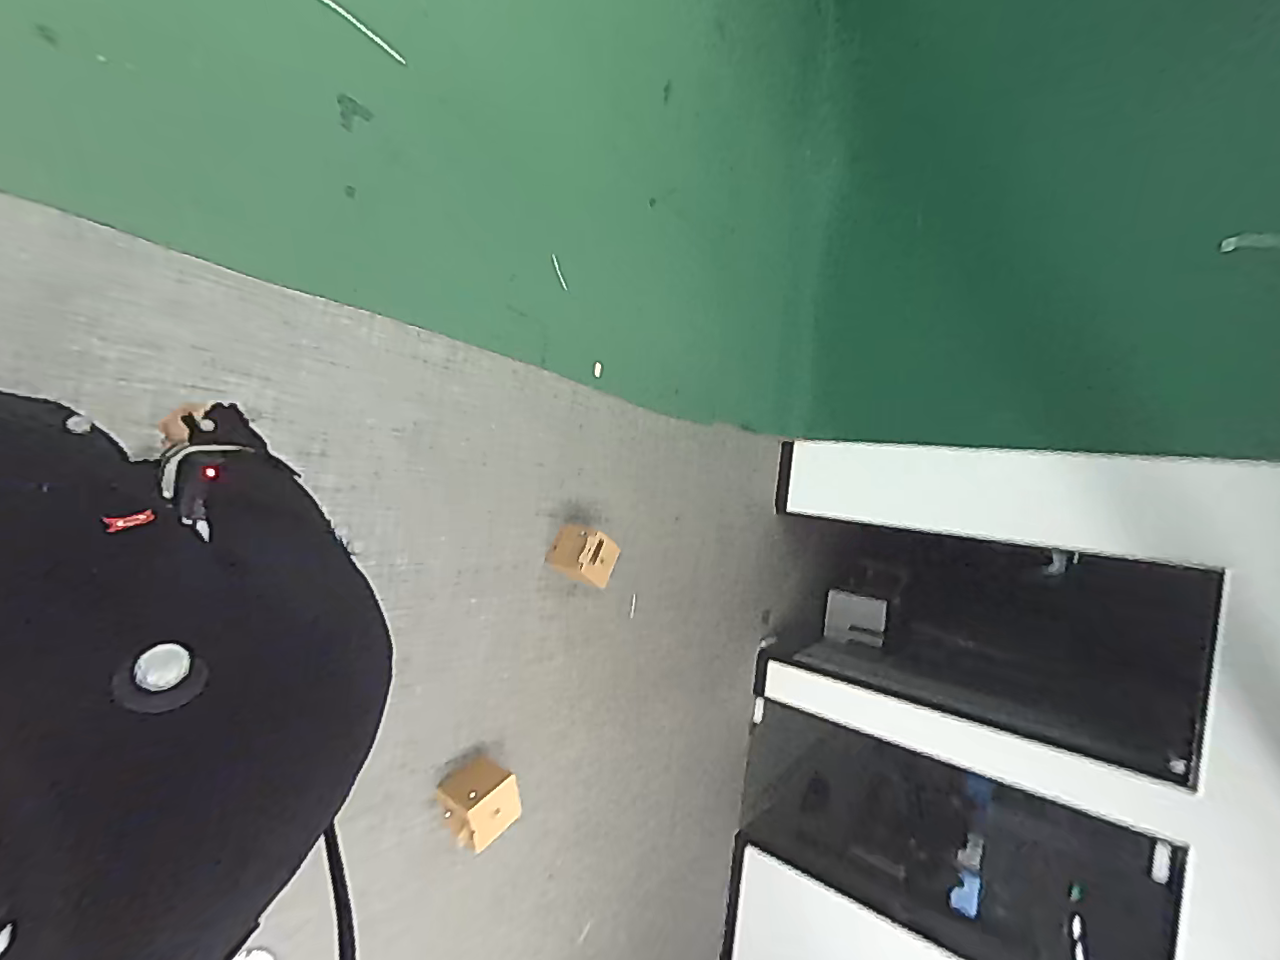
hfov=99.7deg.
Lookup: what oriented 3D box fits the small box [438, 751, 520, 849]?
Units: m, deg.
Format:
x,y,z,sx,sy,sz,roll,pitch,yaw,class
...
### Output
x,y,z,sx,sy,sz,roll,pitch,yaw,class
-0.508,1.000,1.711,0.179,0.176,0.168,-24,114,-48,small box
